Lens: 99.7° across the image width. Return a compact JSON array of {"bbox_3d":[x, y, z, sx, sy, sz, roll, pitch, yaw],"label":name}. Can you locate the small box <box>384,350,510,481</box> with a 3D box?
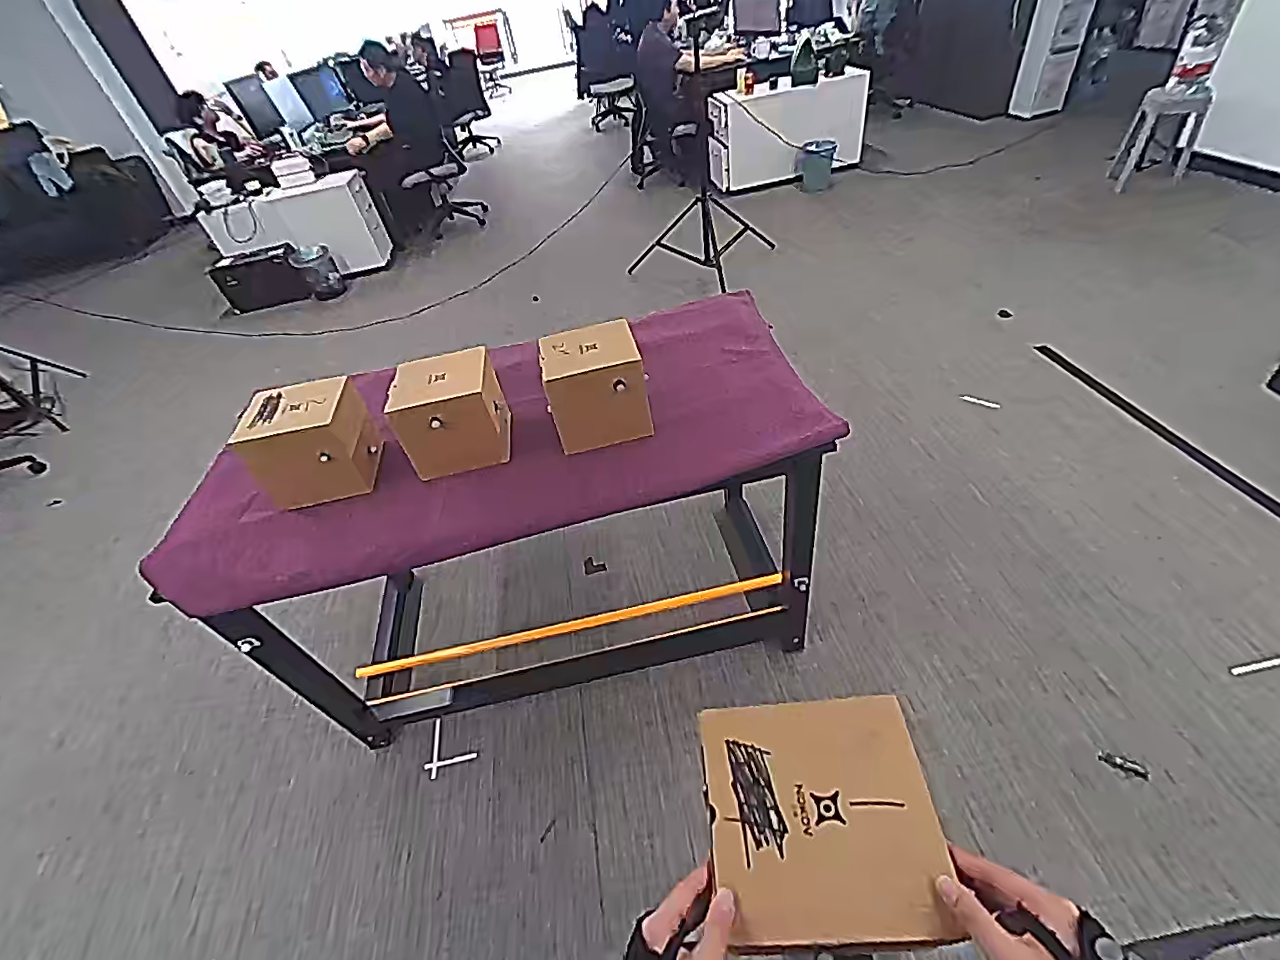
[{"bbox_3d":[-0.358,-0.123,1.044,0.179,0.176,0.168,-13,43,-1],"label":"small box"}]

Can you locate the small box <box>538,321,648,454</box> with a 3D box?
[{"bbox_3d":[-0.085,-0.174,1.030,0.179,0.176,0.168,-14,41,-2],"label":"small box"}]

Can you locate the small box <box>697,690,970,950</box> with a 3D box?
[{"bbox_3d":[0.153,0.307,0.482,0.179,0.176,0.168,-8,47,7],"label":"small box"}]
